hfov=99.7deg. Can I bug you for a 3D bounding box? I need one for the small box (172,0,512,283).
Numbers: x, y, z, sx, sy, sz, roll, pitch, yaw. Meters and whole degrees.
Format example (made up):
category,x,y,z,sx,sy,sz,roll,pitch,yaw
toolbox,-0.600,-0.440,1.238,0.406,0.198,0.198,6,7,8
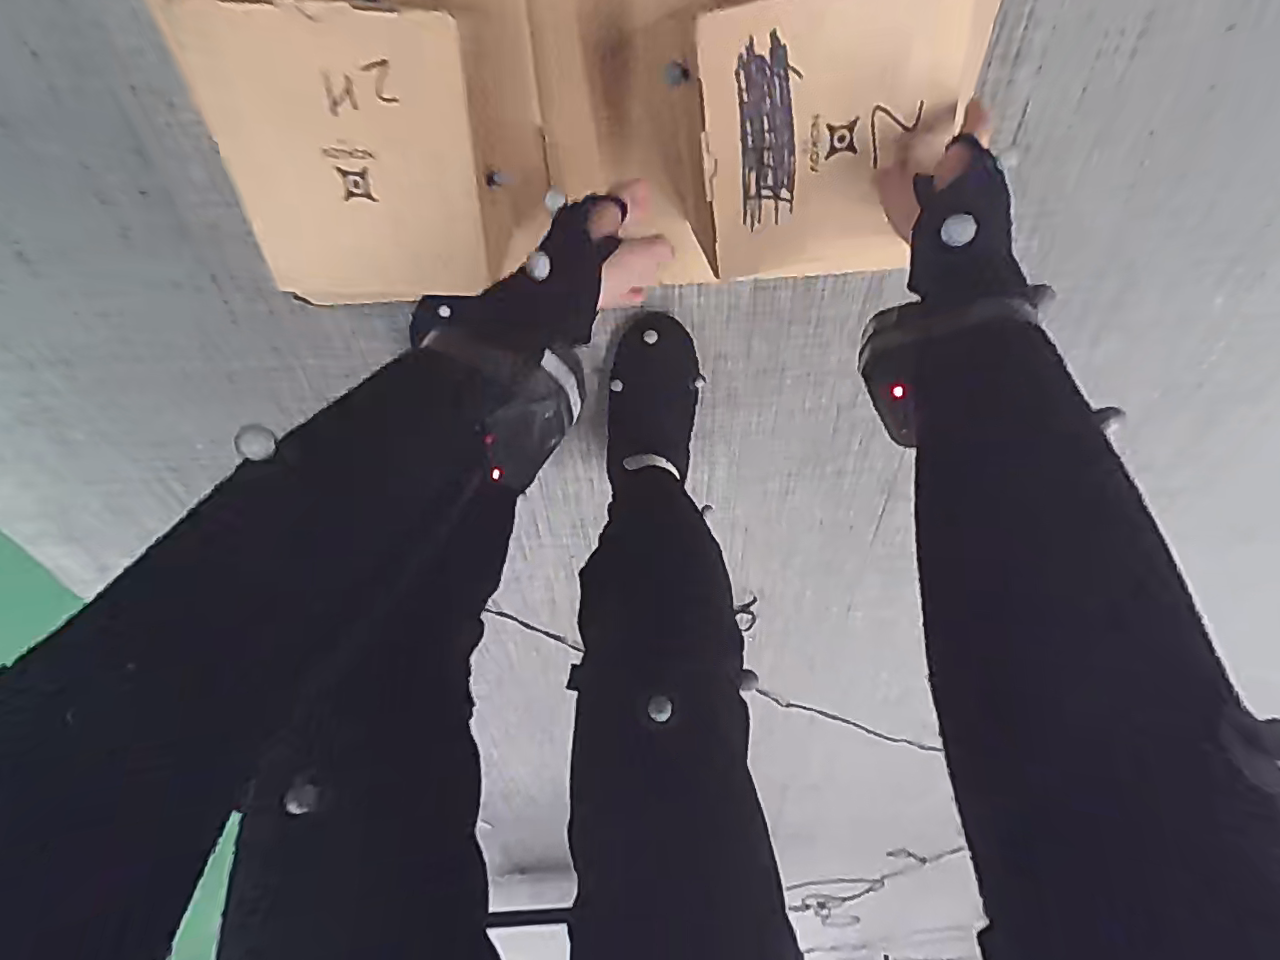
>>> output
category,x,y,z,sx,sy,sz,roll,pitch,yaw
small box,-0.199,-0.276,0.429,0.168,0.176,0.179,-1,131,-5
